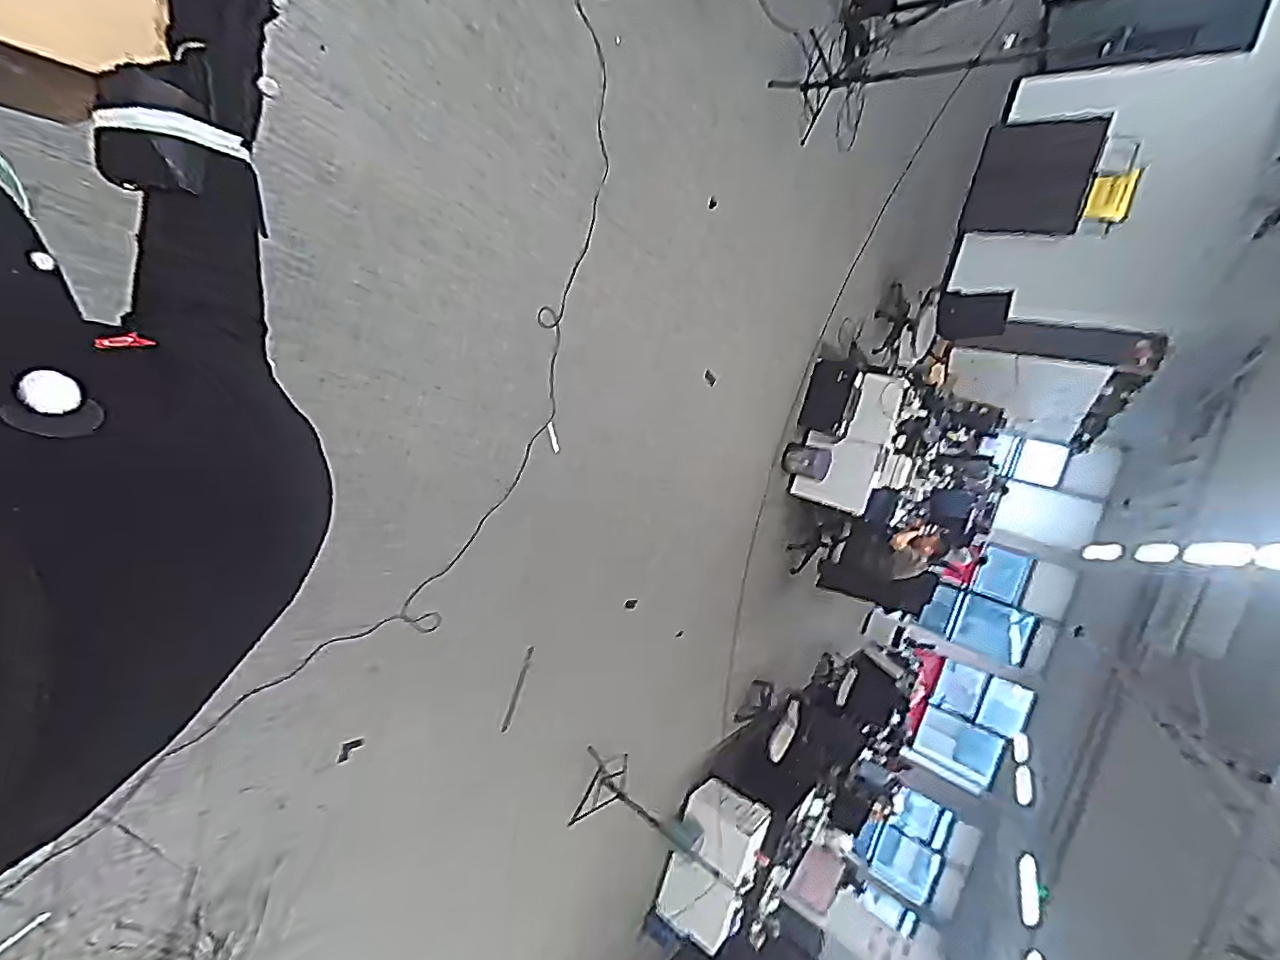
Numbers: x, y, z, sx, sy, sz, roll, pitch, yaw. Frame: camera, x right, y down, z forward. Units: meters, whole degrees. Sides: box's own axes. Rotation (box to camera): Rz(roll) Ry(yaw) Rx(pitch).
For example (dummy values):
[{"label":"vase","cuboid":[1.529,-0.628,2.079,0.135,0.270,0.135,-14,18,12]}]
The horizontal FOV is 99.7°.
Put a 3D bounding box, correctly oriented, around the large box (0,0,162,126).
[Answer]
[{"label":"large box","cuboid":[-0.544,-0.420,0.255,0.408,0.320,0.320,-12,118,-54]}]
